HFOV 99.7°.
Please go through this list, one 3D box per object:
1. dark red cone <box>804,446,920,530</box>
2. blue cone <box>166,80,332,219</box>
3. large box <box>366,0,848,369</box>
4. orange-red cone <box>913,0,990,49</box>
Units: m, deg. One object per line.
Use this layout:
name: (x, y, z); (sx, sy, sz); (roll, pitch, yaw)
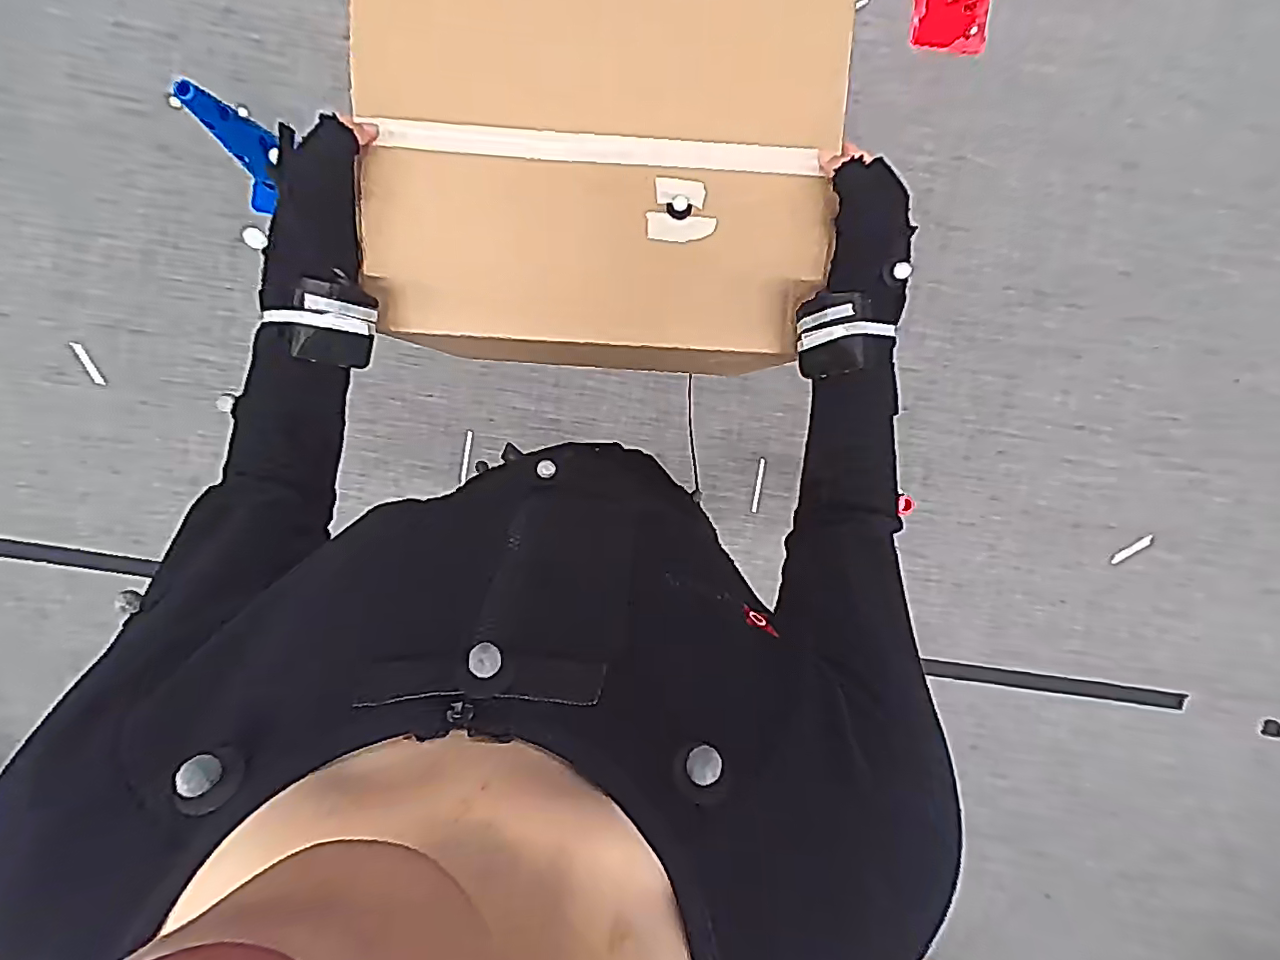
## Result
dark red cone: (0.557, 0.036, 1.296); (0.201, 0.394, 0.202); (15, 93, -1)
blue cone: (-0.903, -0.775, 1.243); (0.192, 0.380, 0.193); (12, 93, -1)
large box: (-0.037, -0.298, 0.605); (0.408, 0.320, 0.320); (2, 98, -4)
orange-red cone: (0.827, -1.235, 1.245); (0.198, 0.360, 0.199); (6, 92, -3)
